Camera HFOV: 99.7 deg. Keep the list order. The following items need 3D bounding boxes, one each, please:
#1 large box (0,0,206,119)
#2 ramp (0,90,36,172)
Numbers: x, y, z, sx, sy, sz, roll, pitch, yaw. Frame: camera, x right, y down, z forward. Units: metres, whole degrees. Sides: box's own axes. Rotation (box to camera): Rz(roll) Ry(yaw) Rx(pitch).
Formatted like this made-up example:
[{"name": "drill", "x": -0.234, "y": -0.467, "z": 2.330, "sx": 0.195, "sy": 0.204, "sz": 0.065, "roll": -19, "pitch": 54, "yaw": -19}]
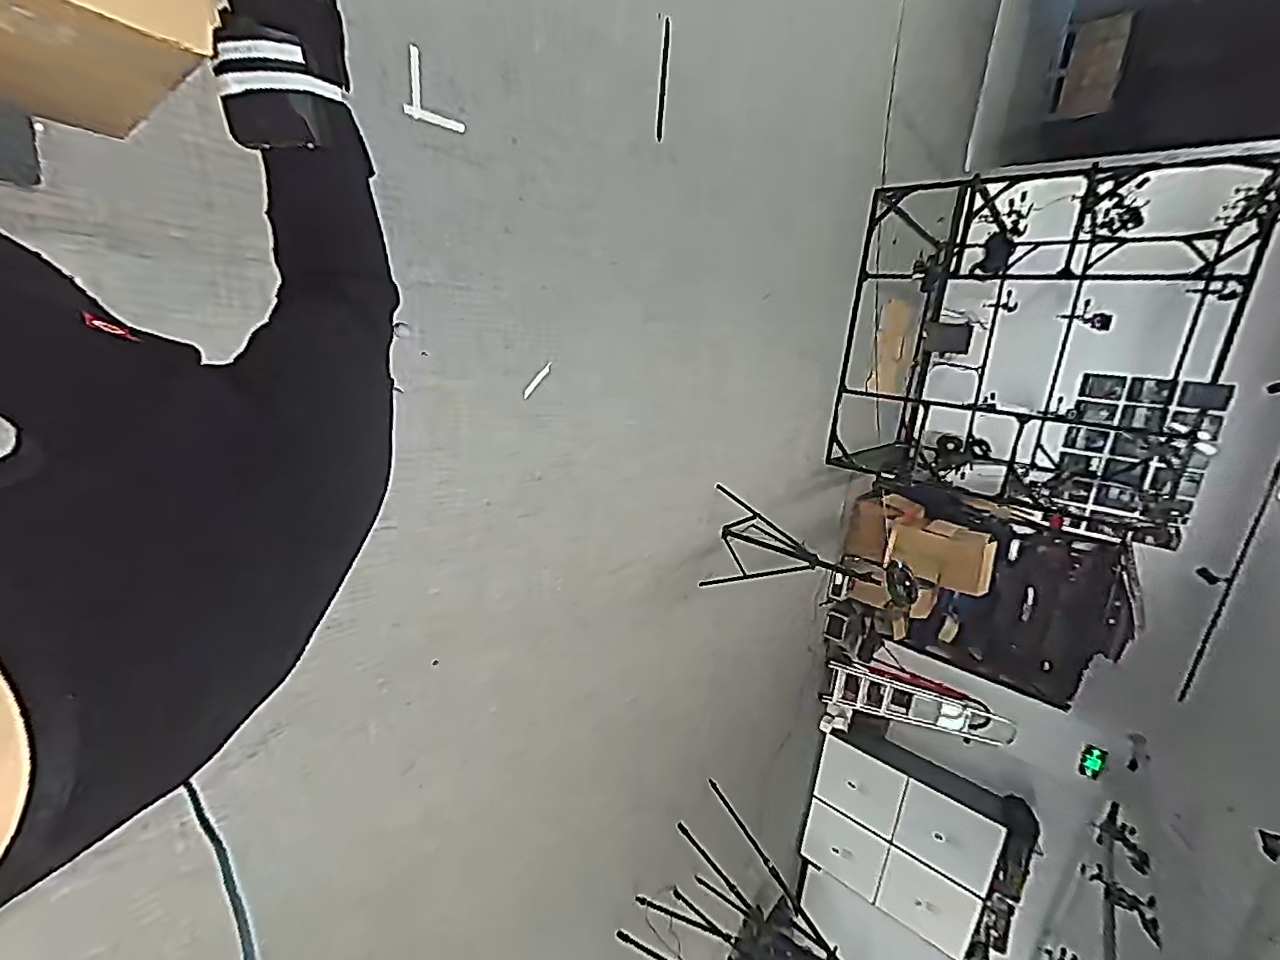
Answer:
[{"name": "large box", "x": -0.499, "y": -0.433, "z": 0.243, "sx": 0.408, "sy": 0.320, "sz": 0.320, "roll": -9, "pitch": 111, "yaw": -50}, {"name": "ramp", "x": -1.101, "y": -0.949, "z": 0.589, "sx": 0.509, "sy": 0.206, "sz": 0.991, "roll": -16, "pitch": 116, "yaw": -49}]
